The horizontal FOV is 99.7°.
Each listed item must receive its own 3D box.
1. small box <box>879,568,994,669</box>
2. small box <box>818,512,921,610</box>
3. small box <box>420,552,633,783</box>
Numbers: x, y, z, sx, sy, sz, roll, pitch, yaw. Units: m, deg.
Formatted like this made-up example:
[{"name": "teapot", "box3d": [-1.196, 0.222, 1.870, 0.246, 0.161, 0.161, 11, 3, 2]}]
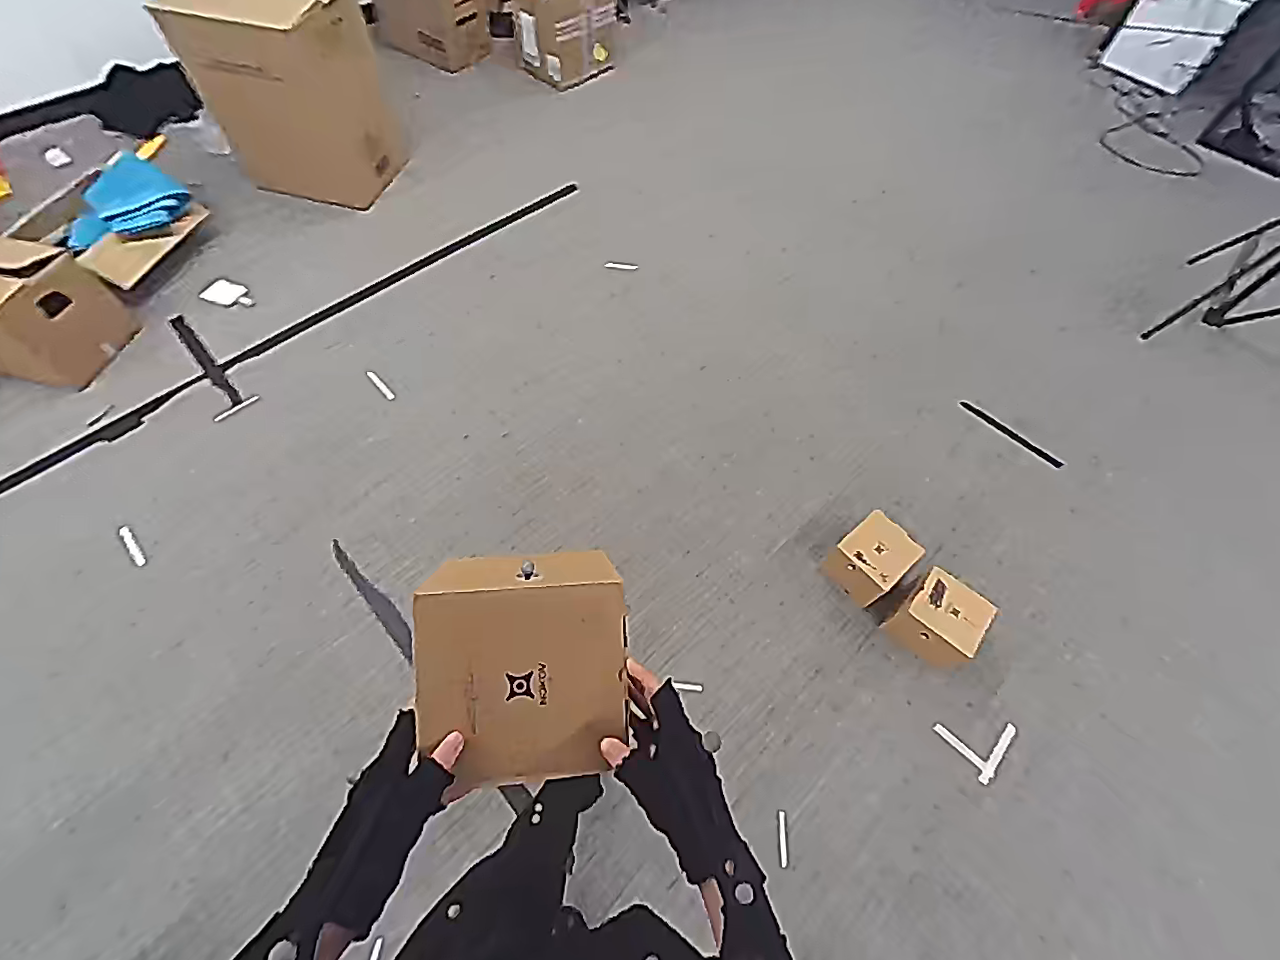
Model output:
[{"name": "small box", "box3d": [0.766, 0.369, 1.416, 0.179, 0.176, 0.168, 38, 66, 17]}, {"name": "small box", "box3d": [0.623, 0.227, 1.492, 0.179, 0.176, 0.168, -35, 67, -21]}, {"name": "small box", "box3d": [-0.107, 0.165, 0.536, 0.179, 0.176, 0.168, -2, 90, -10]}]
